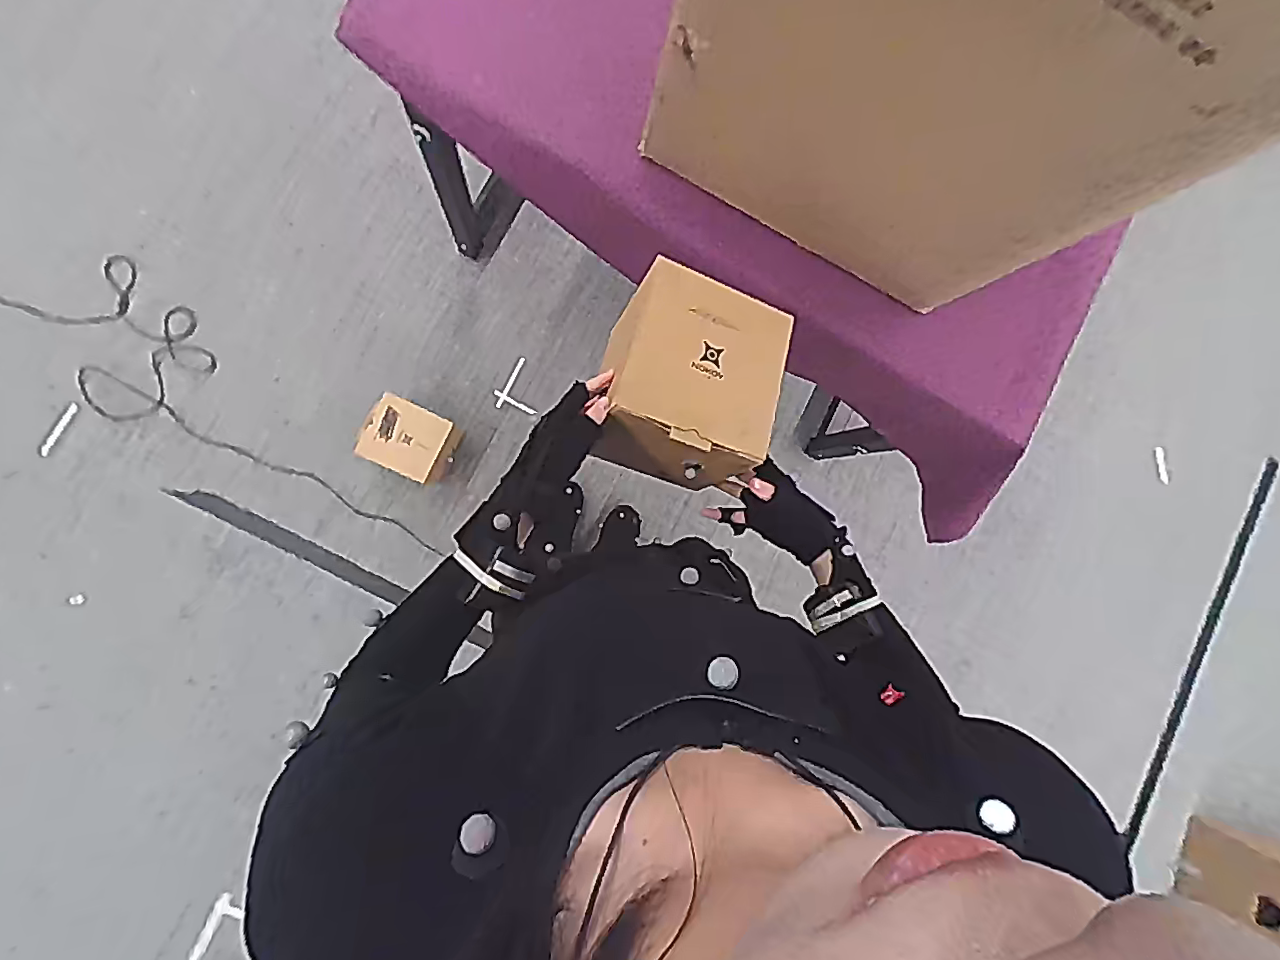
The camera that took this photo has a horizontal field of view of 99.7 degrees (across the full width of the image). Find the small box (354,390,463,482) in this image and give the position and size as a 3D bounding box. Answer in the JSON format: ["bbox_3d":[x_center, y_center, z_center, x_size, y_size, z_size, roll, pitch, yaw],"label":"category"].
[{"bbox_3d":[-0.570,-0.100,1.356,0.179,0.176,0.168,26,85,-9],"label":"small box"}]

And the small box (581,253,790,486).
[{"bbox_3d":[0.042,-0.107,0.611,0.168,0.176,0.179,18,71,-15],"label":"small box"}]
